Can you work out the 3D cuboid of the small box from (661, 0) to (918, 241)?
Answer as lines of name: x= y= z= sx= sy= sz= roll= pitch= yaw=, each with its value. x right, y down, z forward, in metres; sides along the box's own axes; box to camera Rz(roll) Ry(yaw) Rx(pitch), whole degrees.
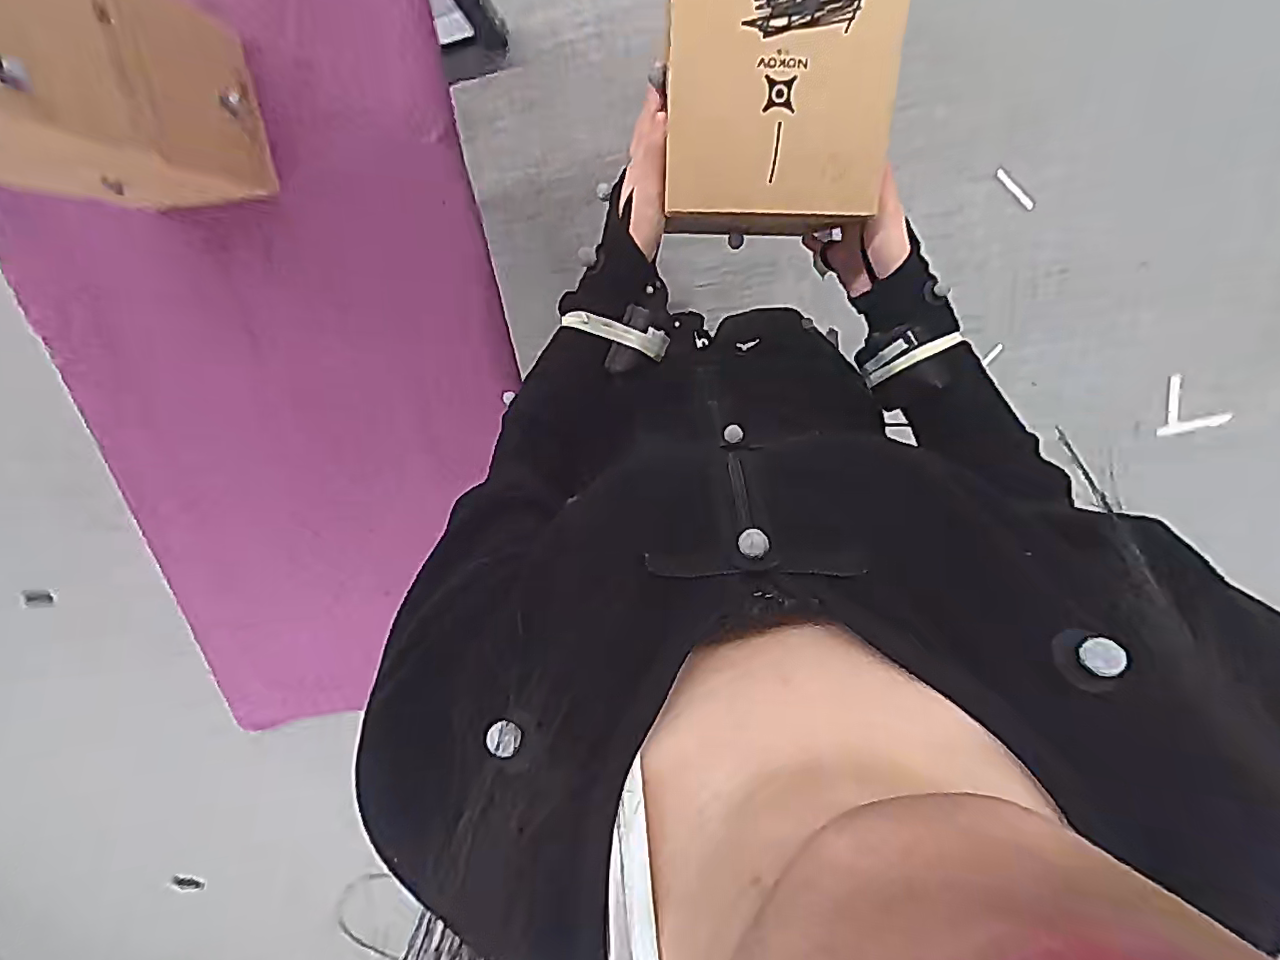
small box: x=0.106 y=-0.310 z=0.460 sx=0.168 sy=0.176 sz=0.179 roll=2 pitch=110 yaw=-1

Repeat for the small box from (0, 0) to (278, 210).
small box: x=-0.536 y=-0.391 z=0.568 sx=0.179 sy=0.176 sz=0.168 roll=-4 pitch=109 yaw=4
